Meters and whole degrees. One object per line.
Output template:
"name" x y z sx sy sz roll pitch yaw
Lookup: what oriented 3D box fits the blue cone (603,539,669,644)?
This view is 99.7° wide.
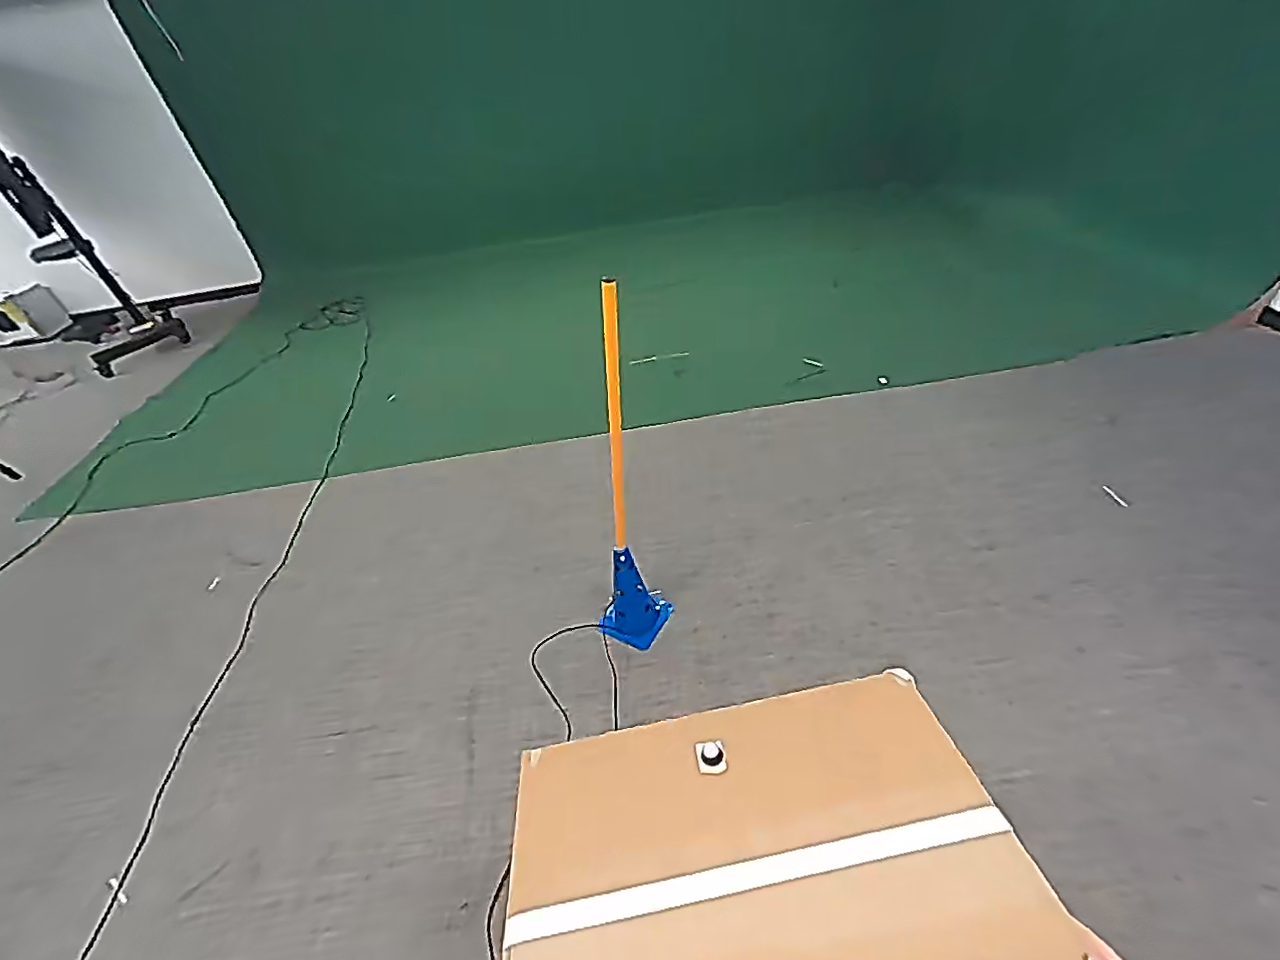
"blue cone" -0.032 0.321 1.689 0.192 0.380 0.193 15 46 25
